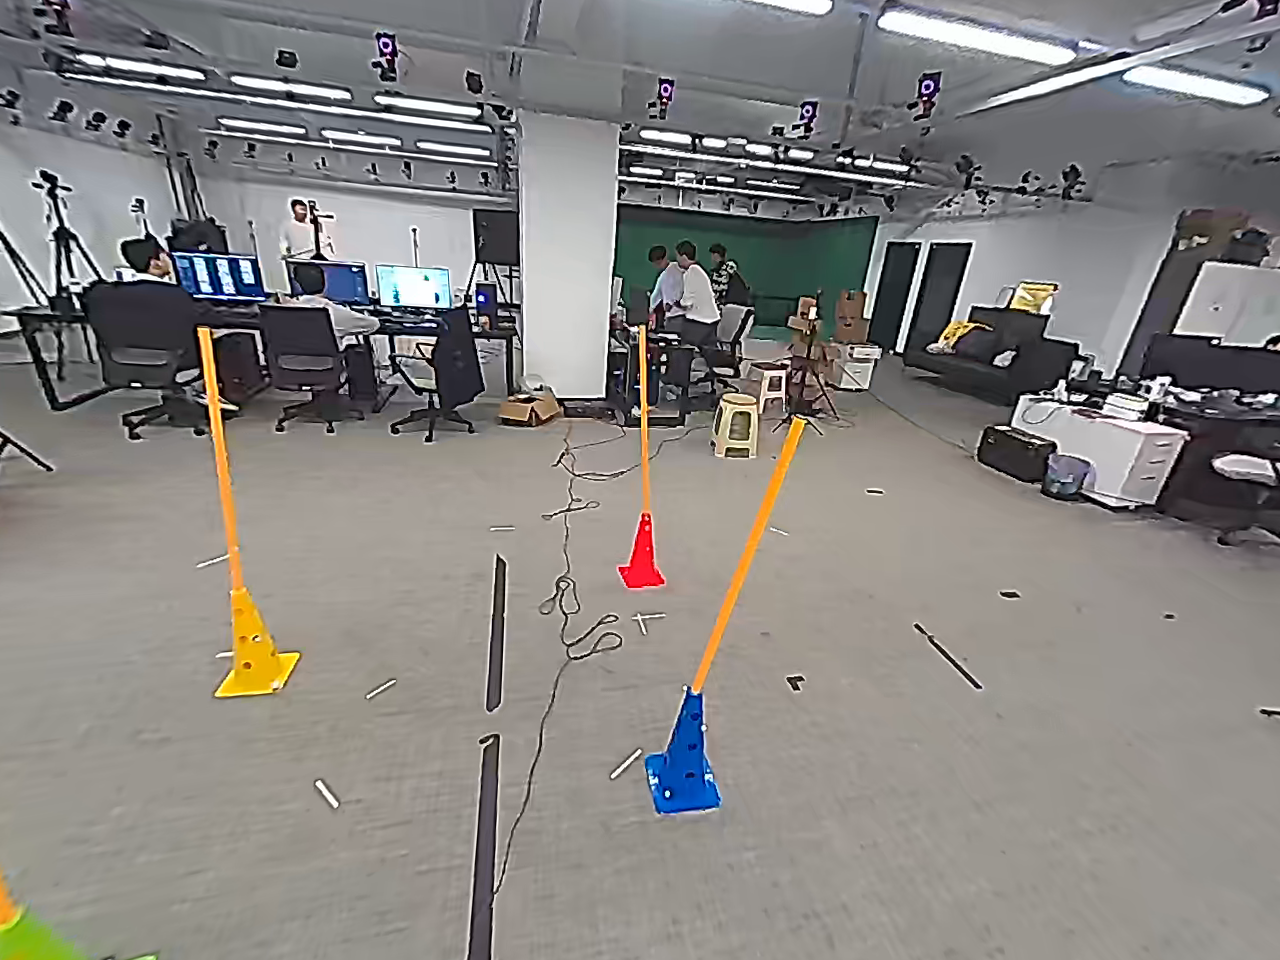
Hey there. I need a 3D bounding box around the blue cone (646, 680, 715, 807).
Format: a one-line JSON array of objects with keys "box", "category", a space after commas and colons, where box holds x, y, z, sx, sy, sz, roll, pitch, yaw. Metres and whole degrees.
[{"box": [0.134, 0.754, 1.587, 0.193, 0.380, 0.192, 0, 22, -10], "category": "blue cone"}]

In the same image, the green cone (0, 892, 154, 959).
[{"box": [-1.083, 0.894, 0.984, 0.200, 0.368, 0.202, -5, 22, -22], "category": "green cone"}]

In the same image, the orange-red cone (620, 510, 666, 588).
[{"box": [0.021, 0.312, 2.600, 0.199, 0.360, 0.198, -4, 23, -17], "category": "orange-red cone"}]
